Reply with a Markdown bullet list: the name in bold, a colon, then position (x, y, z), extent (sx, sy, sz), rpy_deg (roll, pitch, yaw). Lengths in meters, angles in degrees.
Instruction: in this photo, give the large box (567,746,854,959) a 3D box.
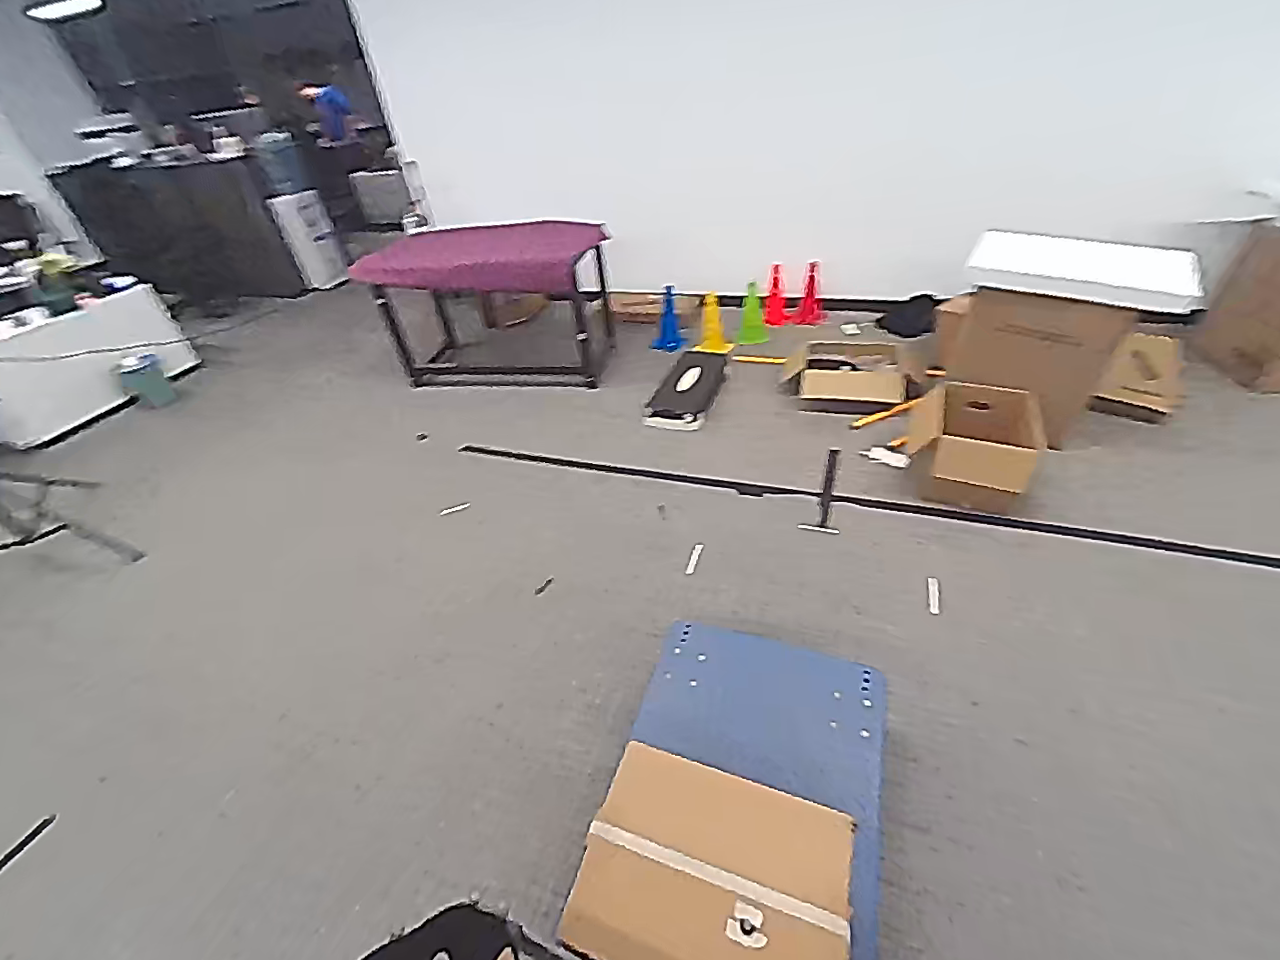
- **large box**: position (0.133, 0.743, 0.954), extent (0.408, 0.320, 0.320), rpy_deg (10, 43, 19)
